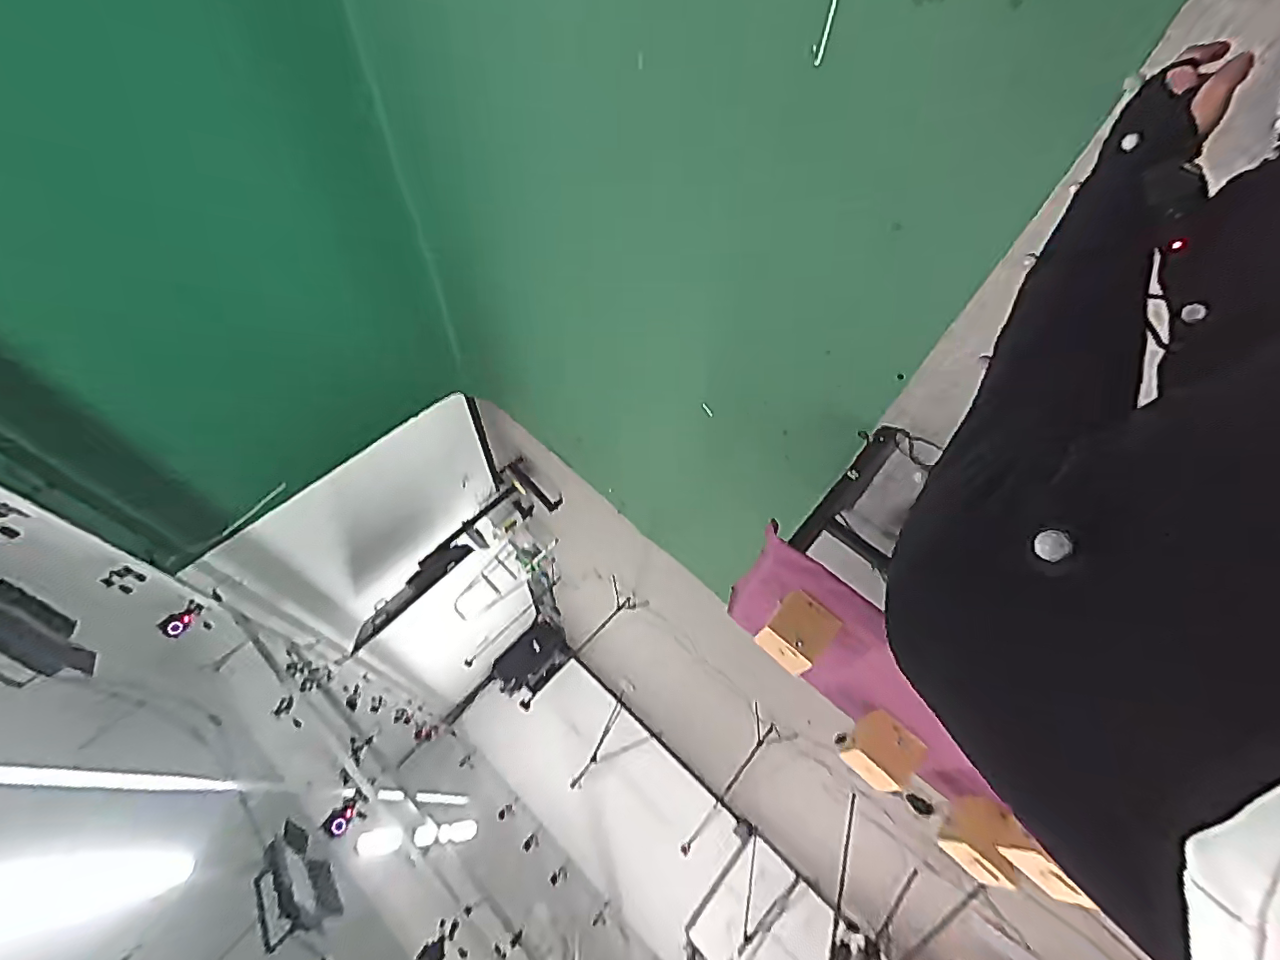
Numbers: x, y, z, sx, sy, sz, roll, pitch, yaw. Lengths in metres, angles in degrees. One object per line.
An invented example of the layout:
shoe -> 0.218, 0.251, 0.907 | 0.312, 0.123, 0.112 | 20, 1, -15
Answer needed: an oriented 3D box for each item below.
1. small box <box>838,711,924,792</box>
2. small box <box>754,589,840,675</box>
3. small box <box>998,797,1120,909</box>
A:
small box -> 0.794, 0.891, 1.776 | 0.168, 0.176, 0.179 | 39, 153, 18
small box -> 0.479, 0.463, 1.647 | 0.168, 0.176, 0.179 | 38, 156, 16
small box -> 1.084, 0.950, 1.395 | 0.168, 0.176, 0.179 | 39, 155, 18
